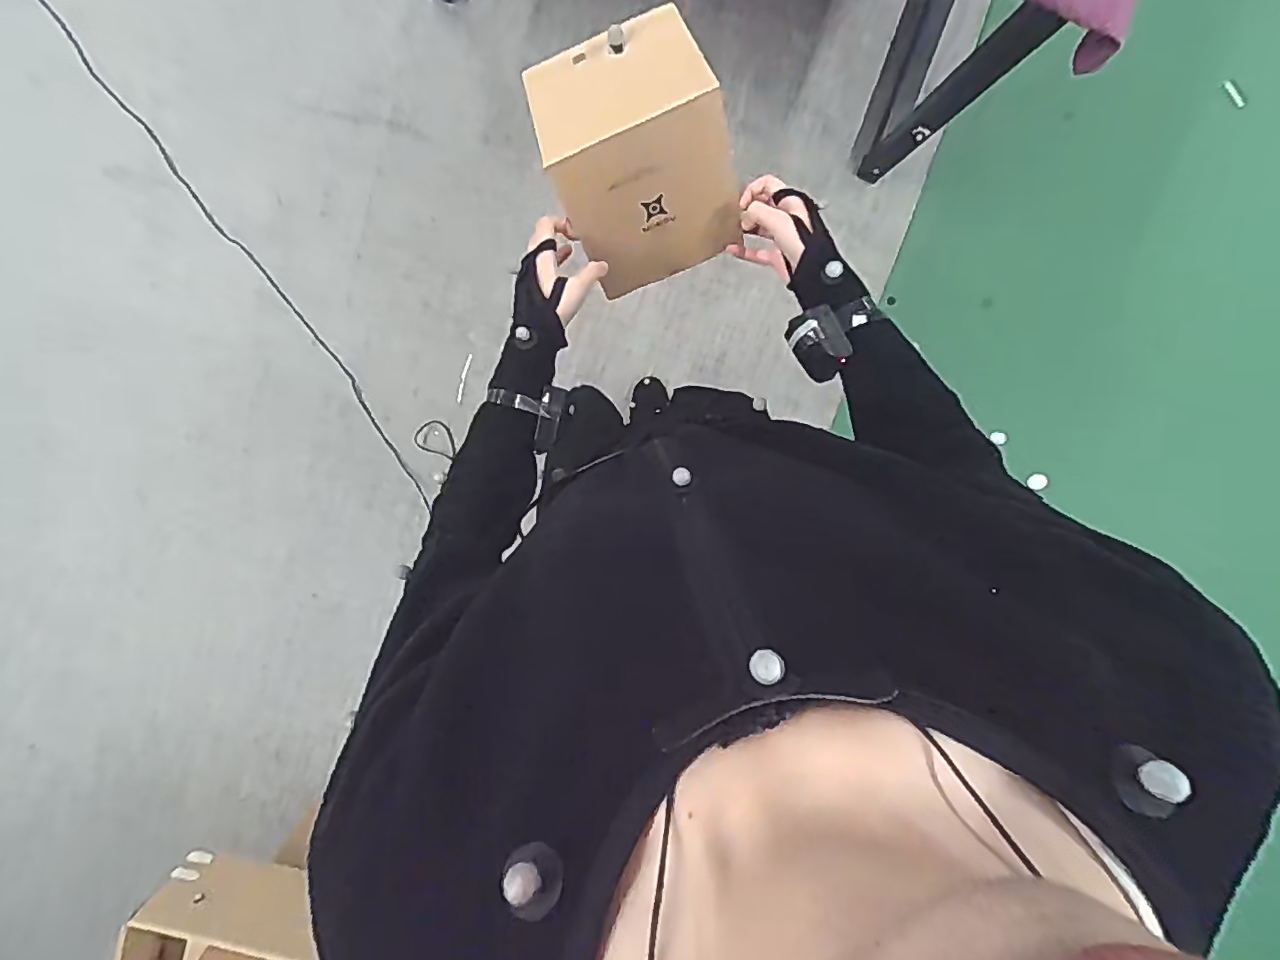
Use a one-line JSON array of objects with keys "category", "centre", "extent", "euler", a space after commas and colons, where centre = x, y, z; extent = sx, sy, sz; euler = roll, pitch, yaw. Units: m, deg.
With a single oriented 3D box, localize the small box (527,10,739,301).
[{"category": "small box", "centre": [-0.005, -0.335, 0.575], "extent": [0.168, 0.179, 0.176], "euler": [-19, 61, 9]}]
